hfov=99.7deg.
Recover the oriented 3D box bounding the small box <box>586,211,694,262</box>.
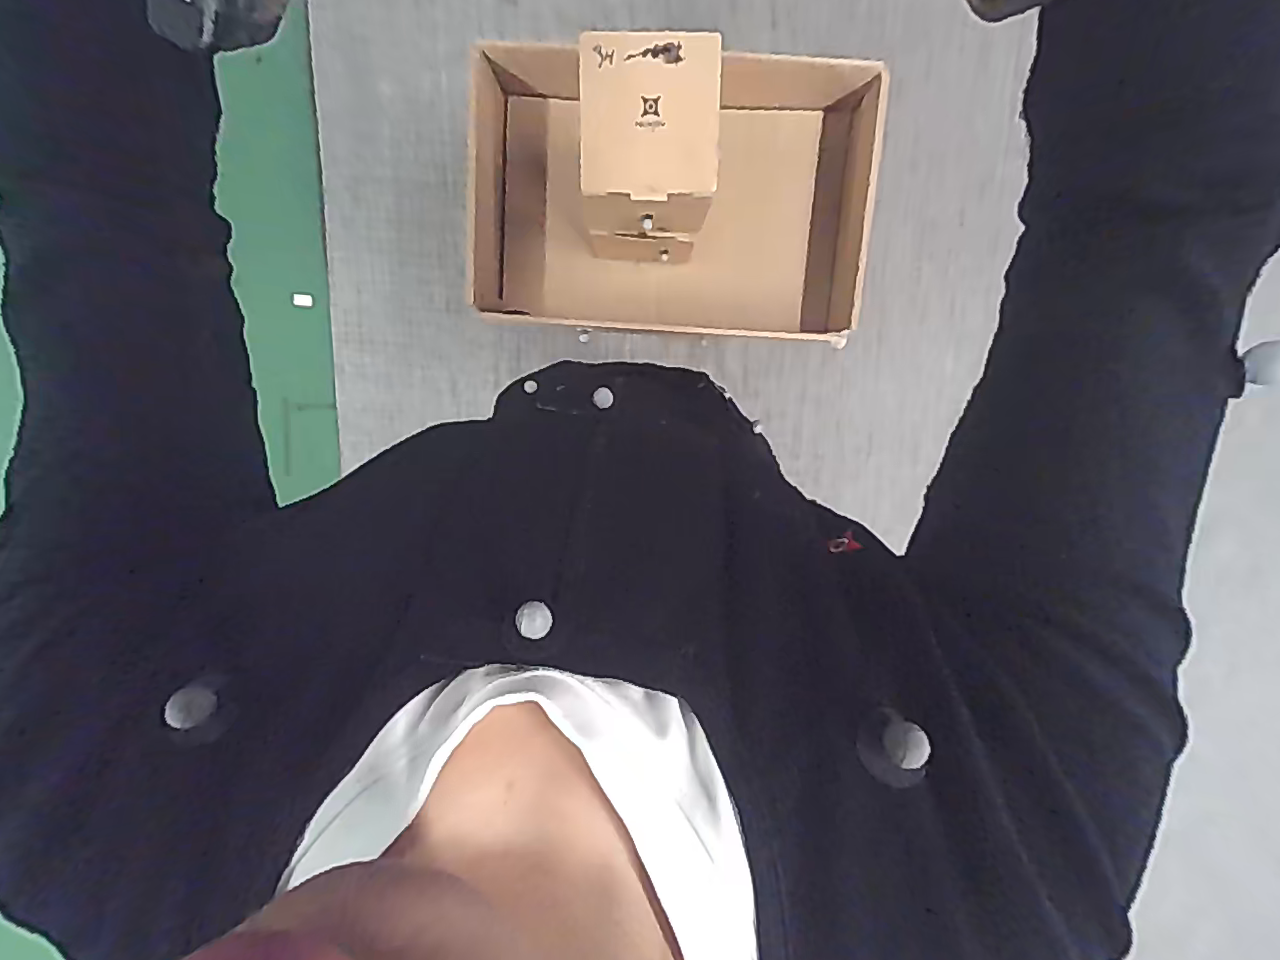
[{"bbox_3d":[0.007,-0.463,0.874,0.168,0.176,0.179,3,98,-1],"label":"small box"}]

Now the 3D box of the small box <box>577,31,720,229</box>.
[{"bbox_3d":[0.009,-0.441,0.711,0.168,0.176,0.179,1,101,-1],"label":"small box"}]
